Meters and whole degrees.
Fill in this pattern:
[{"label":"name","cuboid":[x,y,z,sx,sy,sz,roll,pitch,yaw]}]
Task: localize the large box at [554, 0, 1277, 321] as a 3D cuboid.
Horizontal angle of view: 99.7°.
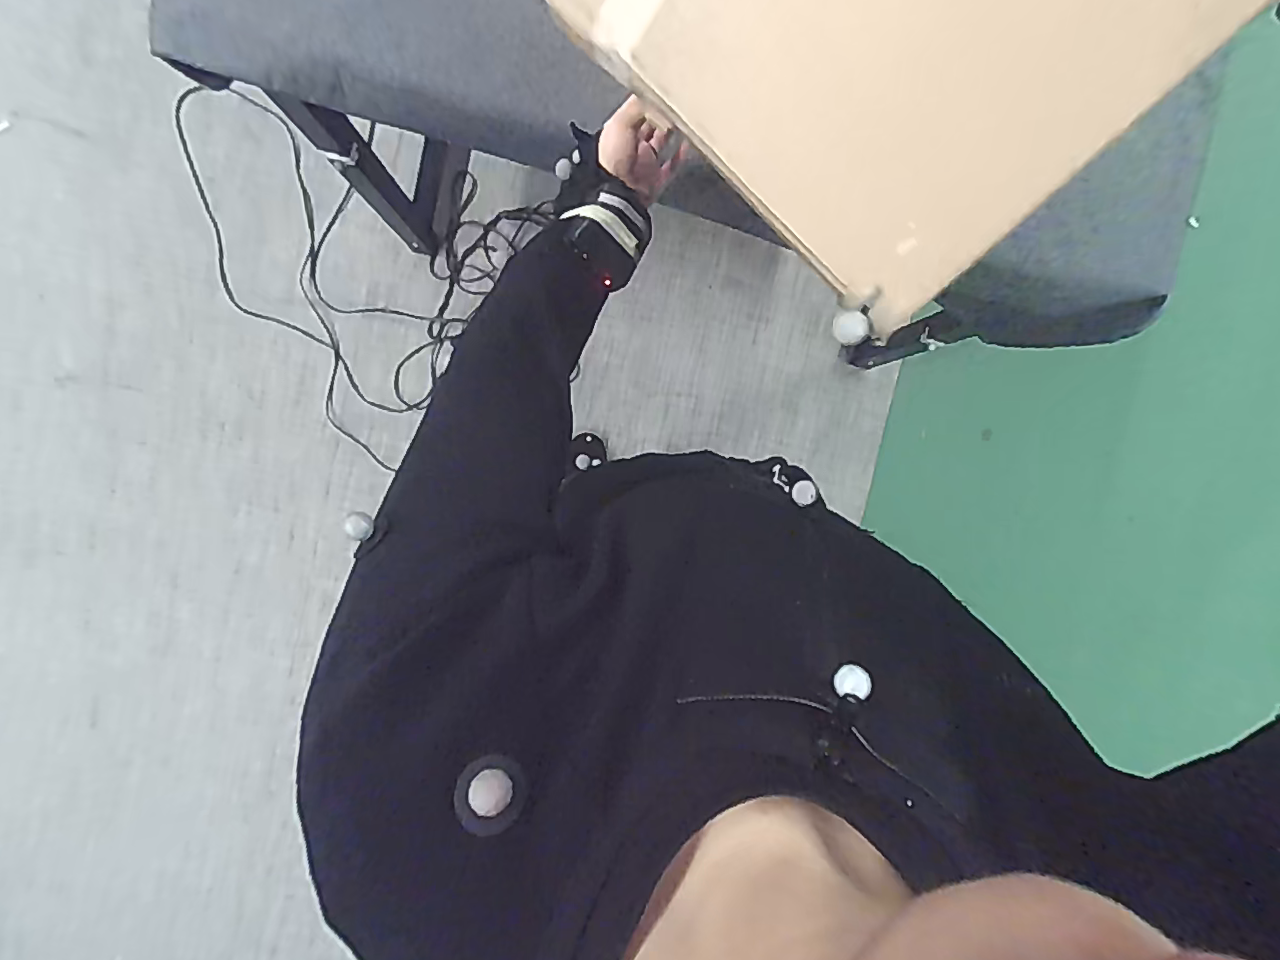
[{"label":"large box","cuboid":[0.185,-0.343,0.261,0.320,0.320,0.408,47,122,6]}]
